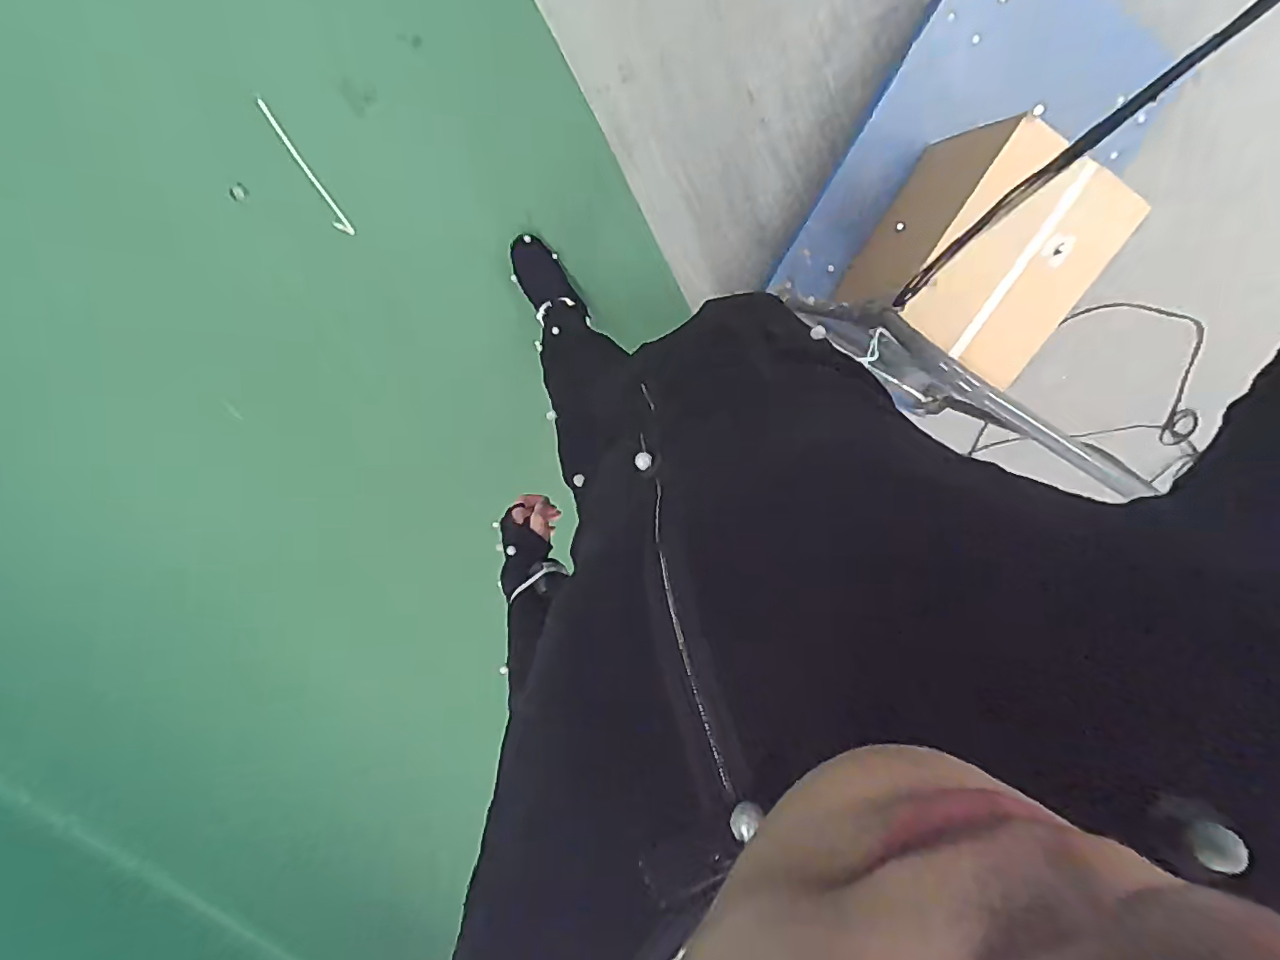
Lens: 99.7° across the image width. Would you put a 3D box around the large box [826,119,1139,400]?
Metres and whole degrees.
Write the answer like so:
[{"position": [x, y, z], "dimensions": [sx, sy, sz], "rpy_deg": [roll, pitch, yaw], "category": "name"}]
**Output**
[{"position": [0.673, -0.439, 1.143], "dimensions": [0.320, 0.320, 0.408], "rpy_deg": [26, 108, -13], "category": "large box"}]
